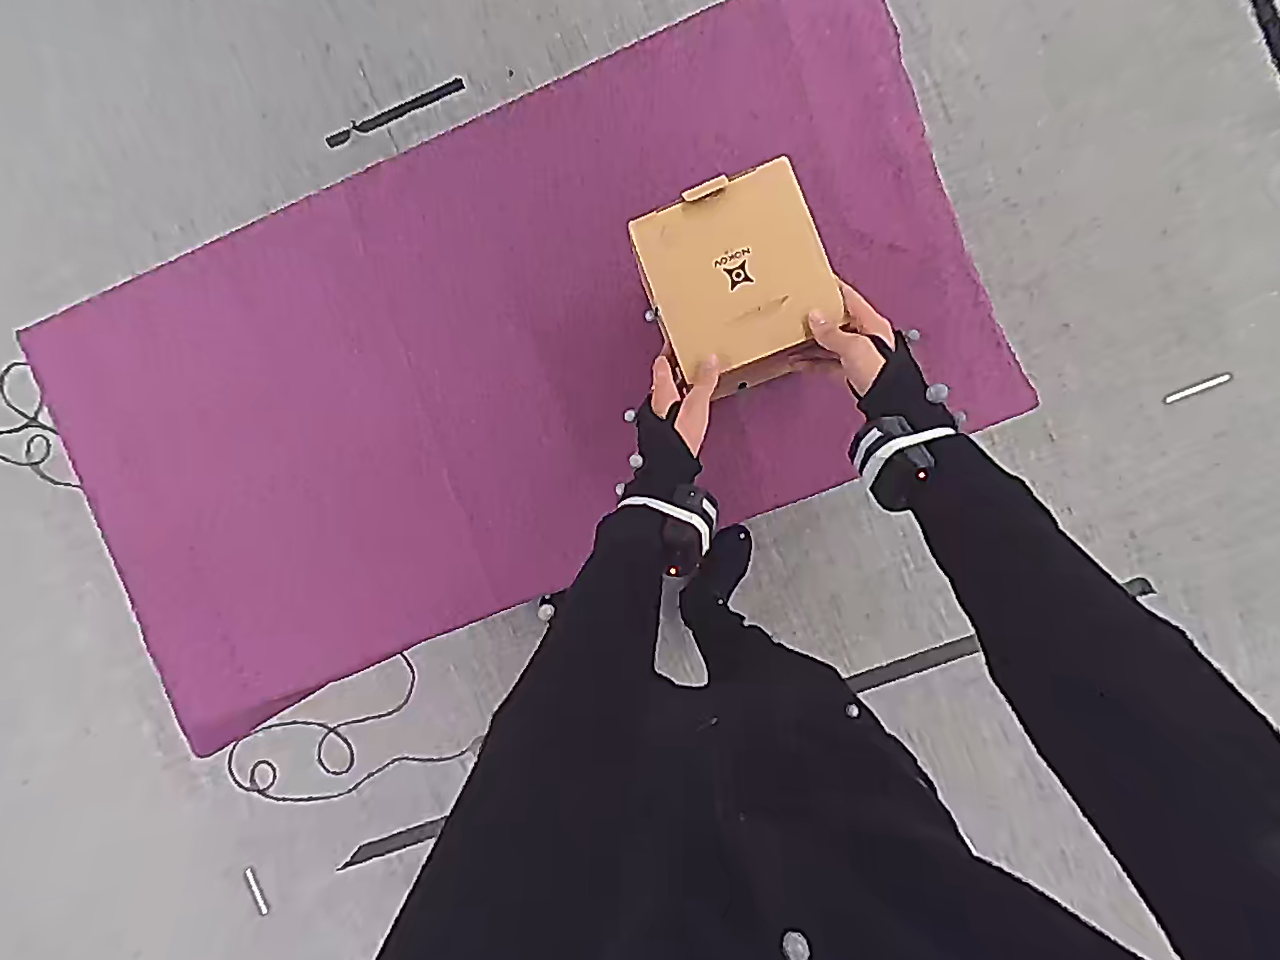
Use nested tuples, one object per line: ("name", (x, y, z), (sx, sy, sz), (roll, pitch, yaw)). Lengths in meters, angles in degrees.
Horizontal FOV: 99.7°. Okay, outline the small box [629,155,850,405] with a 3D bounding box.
("small box", (0.098, -0.198, 0.588), (0.168, 0.176, 0.179), (-20, 88, 6))
